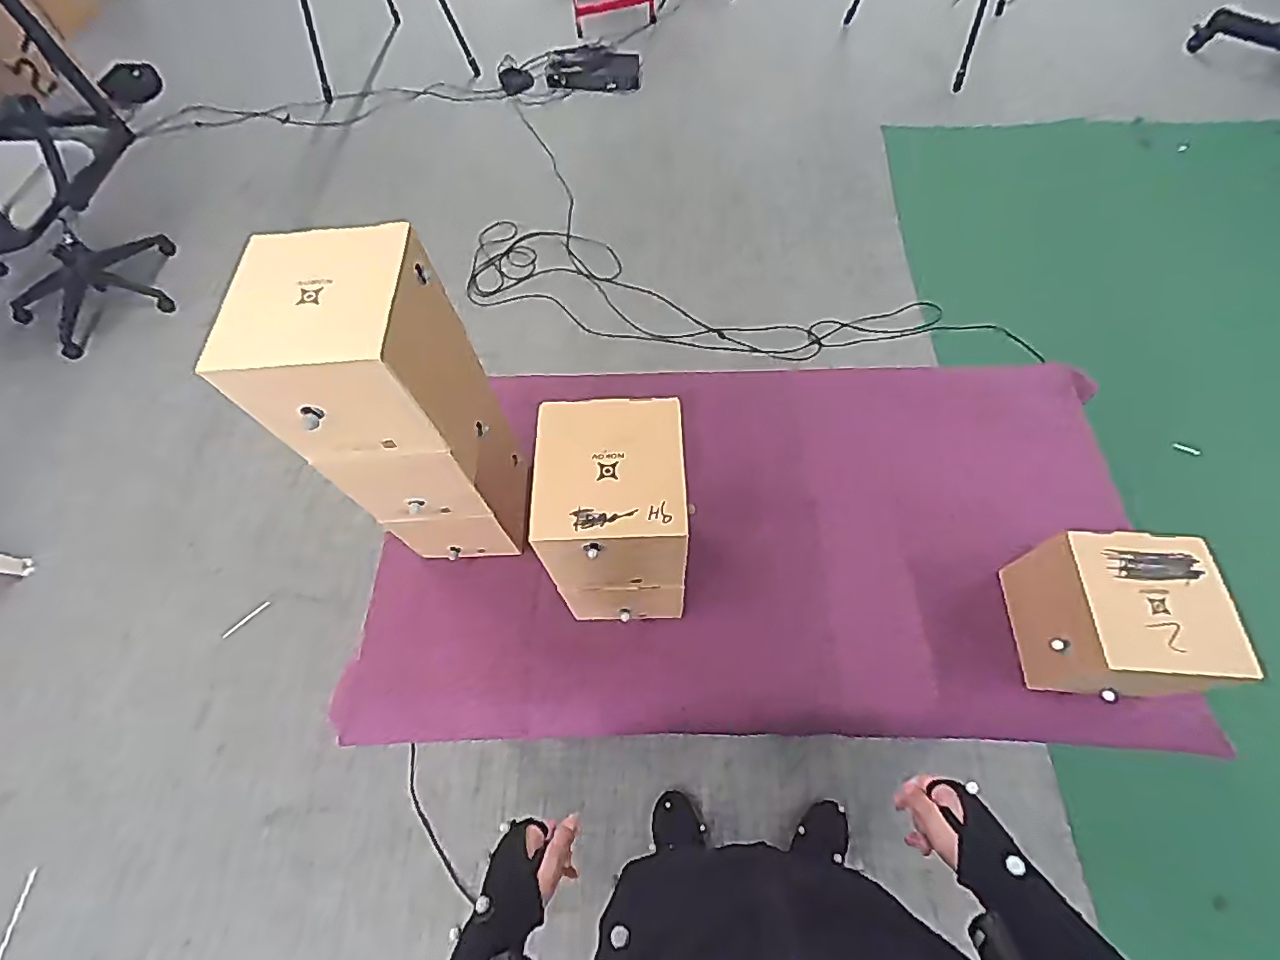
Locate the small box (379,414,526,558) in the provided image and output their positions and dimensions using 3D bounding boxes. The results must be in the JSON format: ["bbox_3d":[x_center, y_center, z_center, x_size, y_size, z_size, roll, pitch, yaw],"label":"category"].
[{"bbox_3d":[-0.284,0.014,0.863,0.168,0.176,0.179,-3,63,2],"label":"small box"}]

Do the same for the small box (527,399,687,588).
[{"bbox_3d":[-0.031,0.022,0.660,0.168,0.176,0.179,-2,62,3],"label":"small box"}]

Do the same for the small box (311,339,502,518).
[{"bbox_3d":[-0.290,-0.062,0.719,0.168,0.176,0.179,-3,63,2],"label":"small box"}]

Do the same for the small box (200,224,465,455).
[{"bbox_3d":[-0.299,-0.136,0.574,0.168,0.176,0.179,-4,62,2],"label":"small box"}]

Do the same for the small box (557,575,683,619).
[{"bbox_3d":[-0.023,0.100,0.804,0.168,0.176,0.179,-2,63,3],"label":"small box"}]
